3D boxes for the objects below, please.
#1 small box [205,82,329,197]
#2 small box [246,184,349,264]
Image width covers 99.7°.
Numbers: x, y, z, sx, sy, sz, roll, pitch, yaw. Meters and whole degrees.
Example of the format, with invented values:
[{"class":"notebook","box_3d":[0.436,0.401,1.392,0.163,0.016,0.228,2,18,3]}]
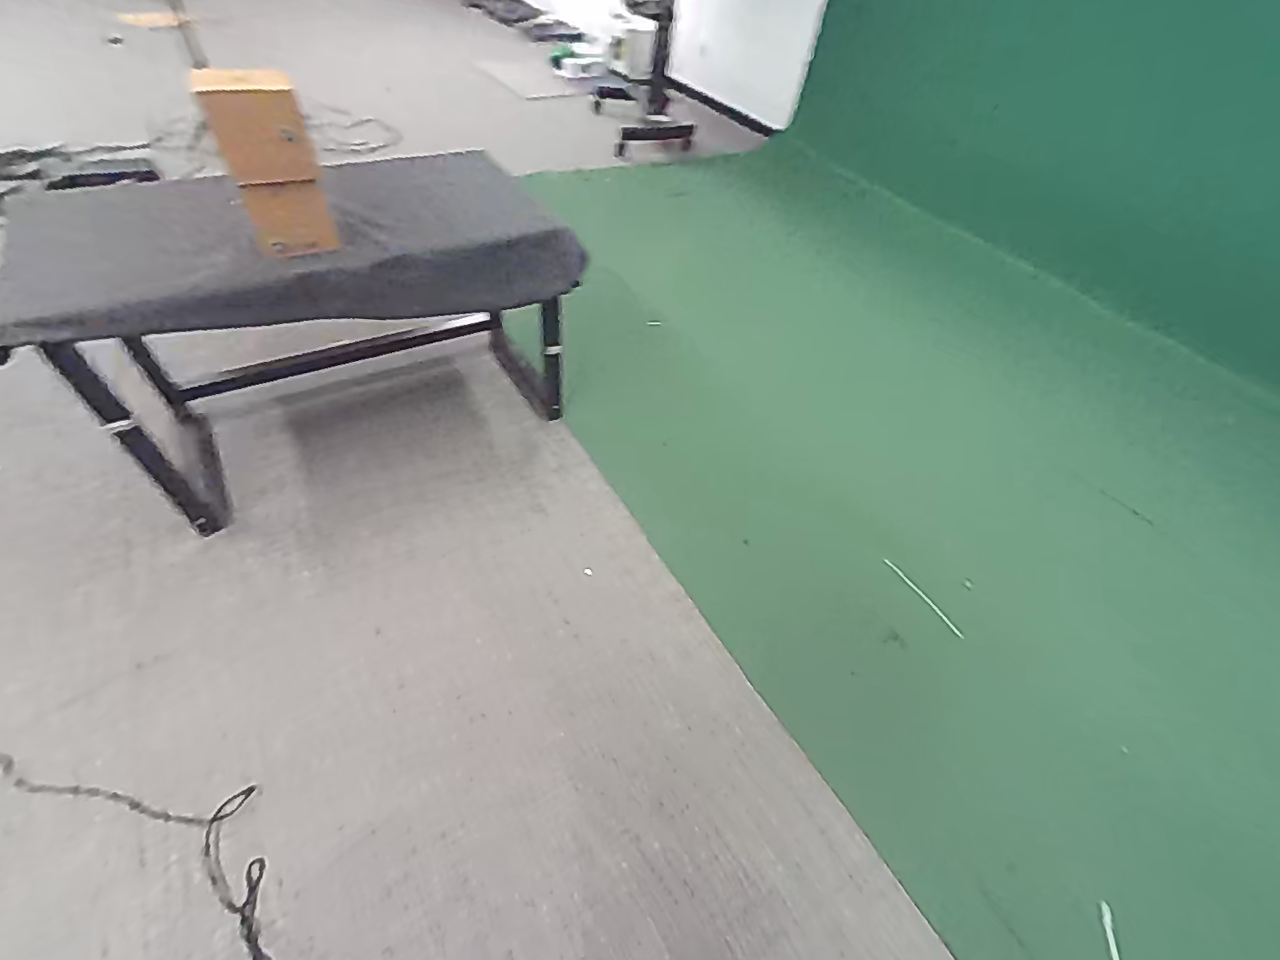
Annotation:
[{"class":"small box","box_3d":[-0.795,-0.734,1.167,0.179,0.176,0.168,-21,52,-22]},{"class":"small box","box_3d":[-0.823,-0.634,1.293,0.168,0.176,0.179,-25,57,-26]}]
